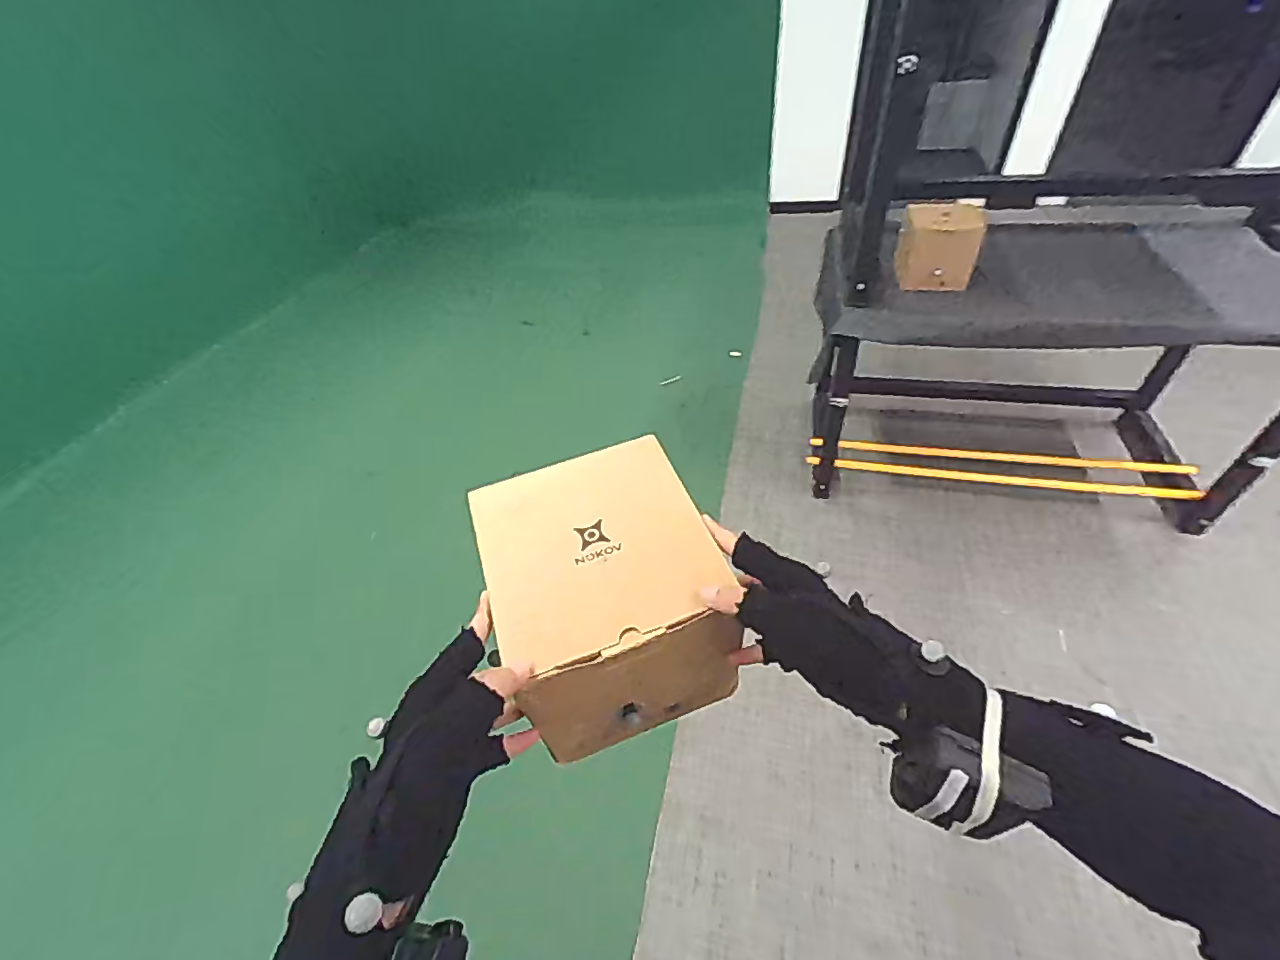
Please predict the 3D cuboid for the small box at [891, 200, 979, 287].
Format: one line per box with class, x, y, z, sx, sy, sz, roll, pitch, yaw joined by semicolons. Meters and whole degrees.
small box;0.793;-0.646;1.474;0.168;0.176;0.179;5;46;14
